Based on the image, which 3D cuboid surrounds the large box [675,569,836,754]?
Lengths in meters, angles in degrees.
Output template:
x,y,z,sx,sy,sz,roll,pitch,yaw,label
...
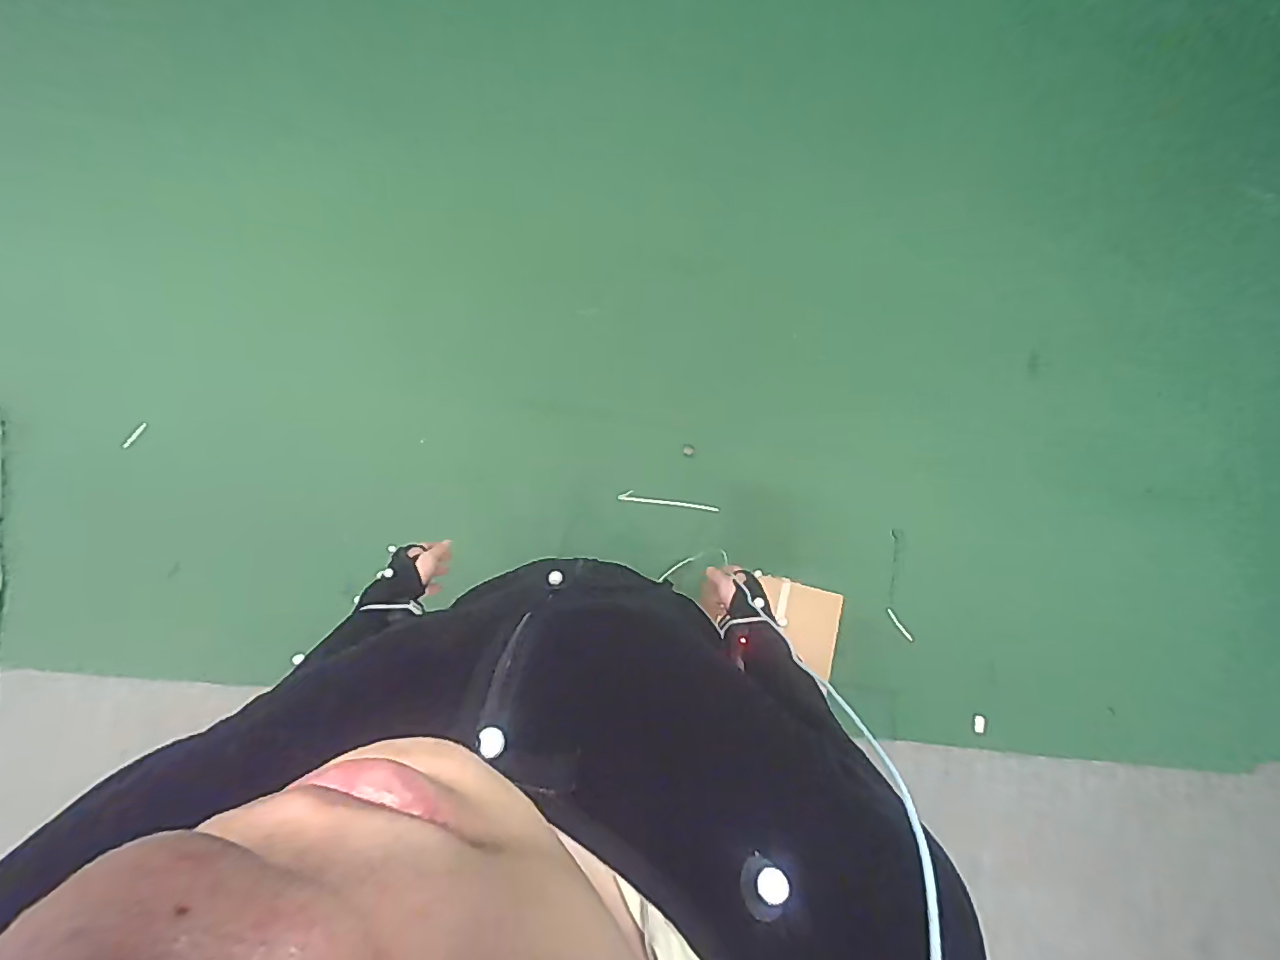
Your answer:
x,y,z,sx,sy,sz,roll,pitch,yaw,label
0.306,0.475,1.508,0.320,0.320,0.408,14,80,-2,large box
